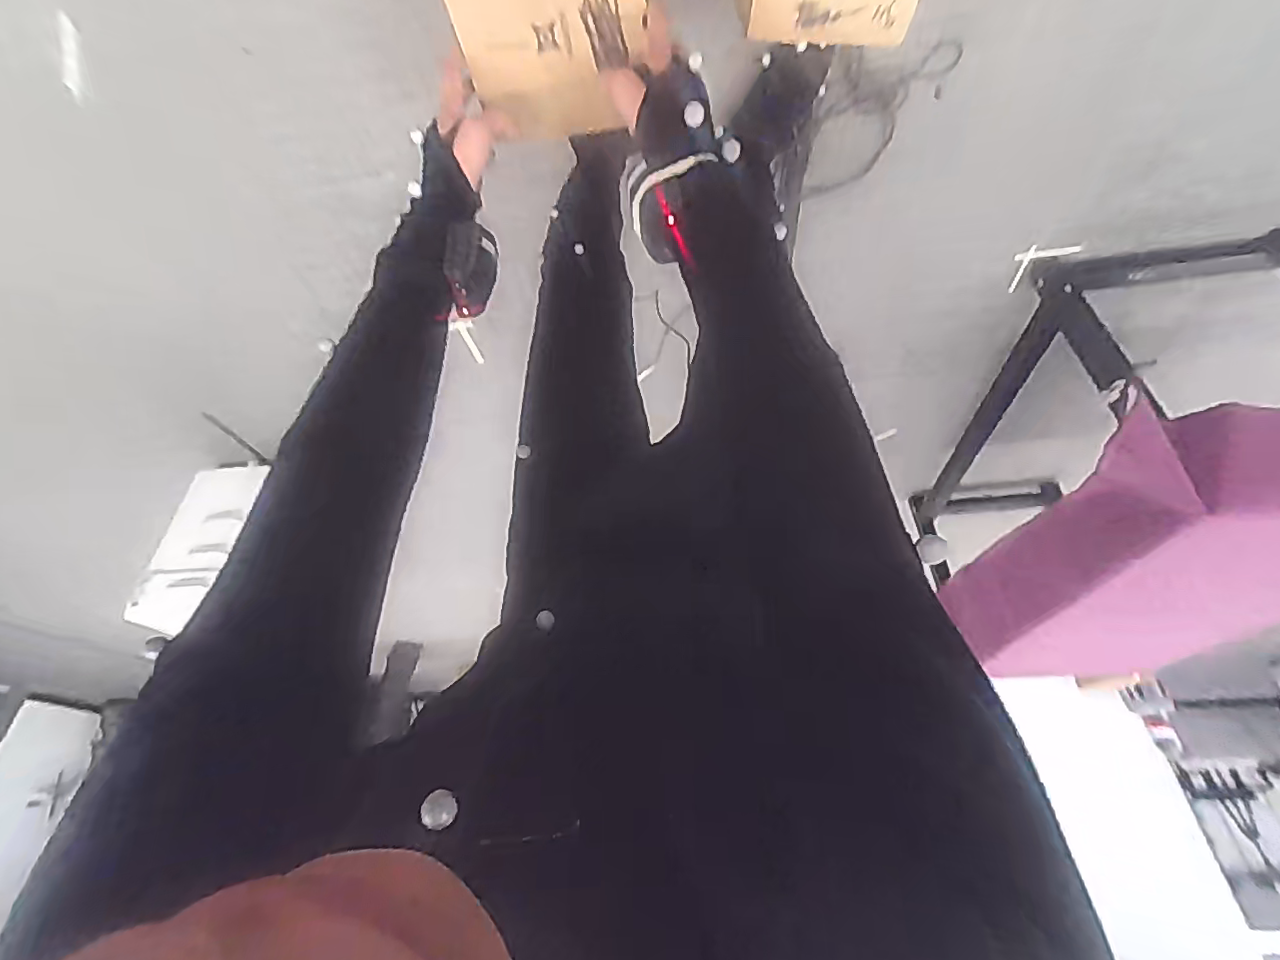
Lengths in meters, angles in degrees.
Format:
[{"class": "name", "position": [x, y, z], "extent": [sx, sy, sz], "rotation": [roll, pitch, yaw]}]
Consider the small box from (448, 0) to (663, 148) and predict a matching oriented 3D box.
[{"class": "small box", "position": [-0.076, -0.462, 0.525], "extent": [0.179, 0.176, 0.168], "rotation": [-6, 148, 5]}]

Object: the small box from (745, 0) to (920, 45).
[{"class": "small box", "position": [0.195, -0.569, 0.533], "extent": [0.168, 0.176, 0.179], "rotation": [1, 146, -2]}]
